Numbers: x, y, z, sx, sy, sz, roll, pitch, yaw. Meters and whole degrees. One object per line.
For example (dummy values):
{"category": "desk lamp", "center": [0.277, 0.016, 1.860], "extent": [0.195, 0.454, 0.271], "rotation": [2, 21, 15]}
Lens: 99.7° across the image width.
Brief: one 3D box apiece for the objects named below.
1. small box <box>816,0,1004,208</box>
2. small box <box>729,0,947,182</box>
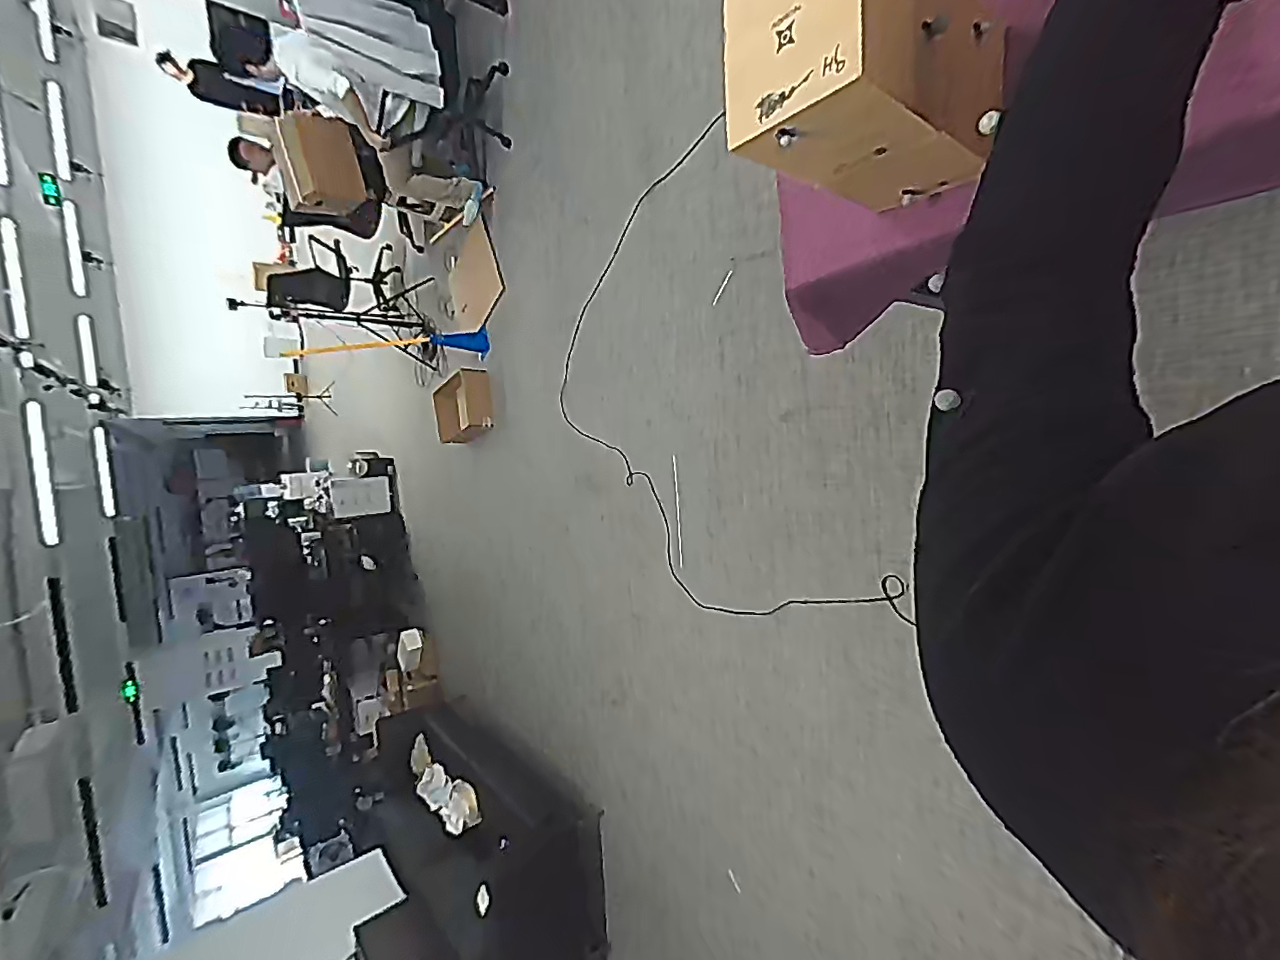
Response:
{"category": "small box", "center": [0.347, -0.483, 0.699], "extent": [0.168, 0.176, 0.179], "rotation": [6, 100, 52]}
{"category": "small box", "center": [0.217, -0.467, 0.599], "extent": [0.168, 0.176, 0.179], "rotation": [6, 99, 53]}
